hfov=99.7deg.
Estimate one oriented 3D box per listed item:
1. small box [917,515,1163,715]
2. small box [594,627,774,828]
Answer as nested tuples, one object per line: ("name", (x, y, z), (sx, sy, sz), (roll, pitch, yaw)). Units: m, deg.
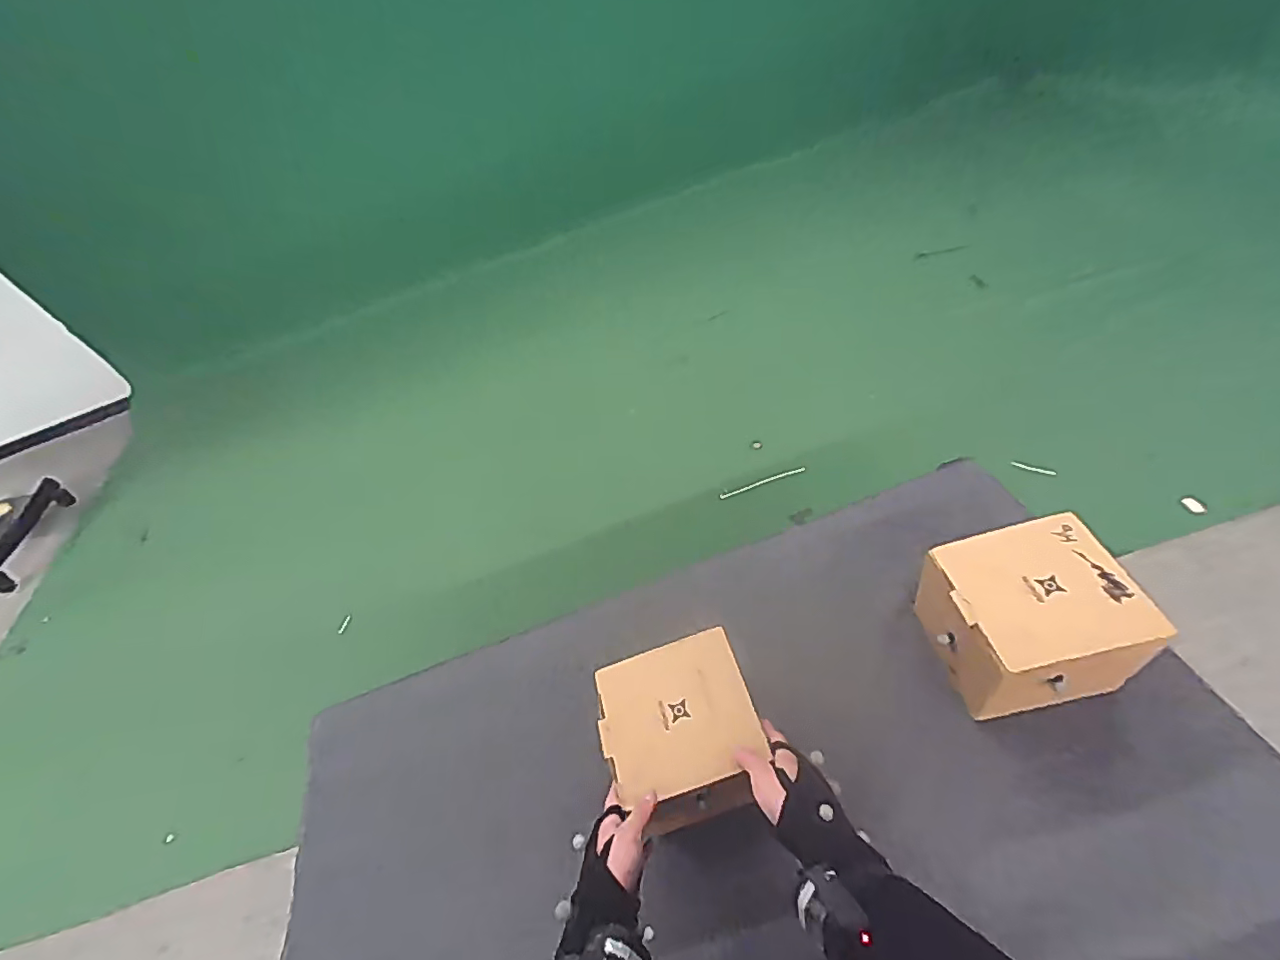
("small box", (0.468, 0.174, 0.675), (0.179, 0.176, 0.168), (-16, 48, 6))
("small box", (0.059, 0.321, 0.693), (0.179, 0.176, 0.168), (-20, 49, -1))
